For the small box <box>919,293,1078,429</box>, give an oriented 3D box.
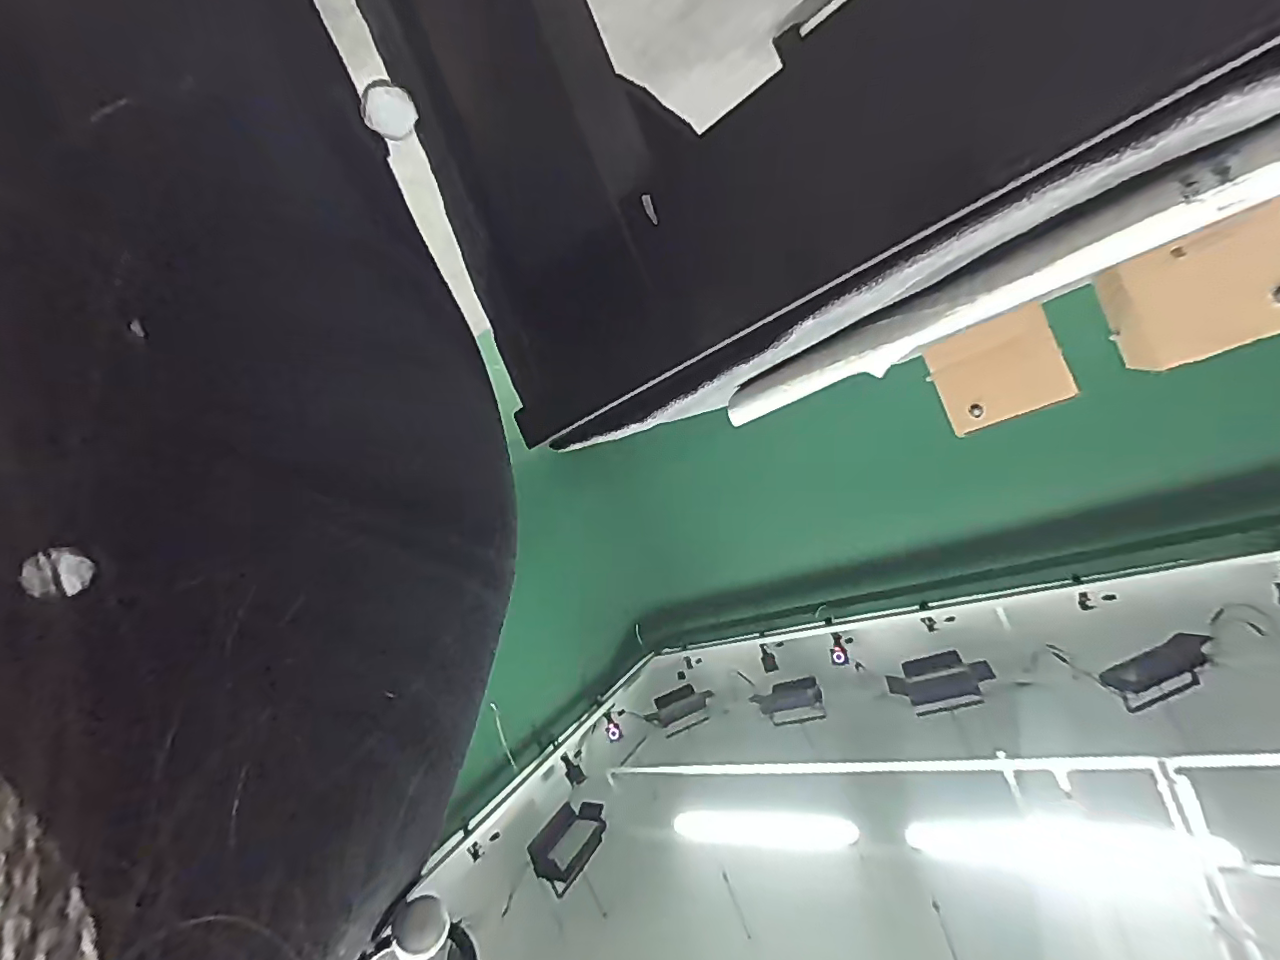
[{"bbox_3d":[0.610,-0.207,0.941,0.179,0.176,0.168,-23,180,31],"label":"small box"}]
